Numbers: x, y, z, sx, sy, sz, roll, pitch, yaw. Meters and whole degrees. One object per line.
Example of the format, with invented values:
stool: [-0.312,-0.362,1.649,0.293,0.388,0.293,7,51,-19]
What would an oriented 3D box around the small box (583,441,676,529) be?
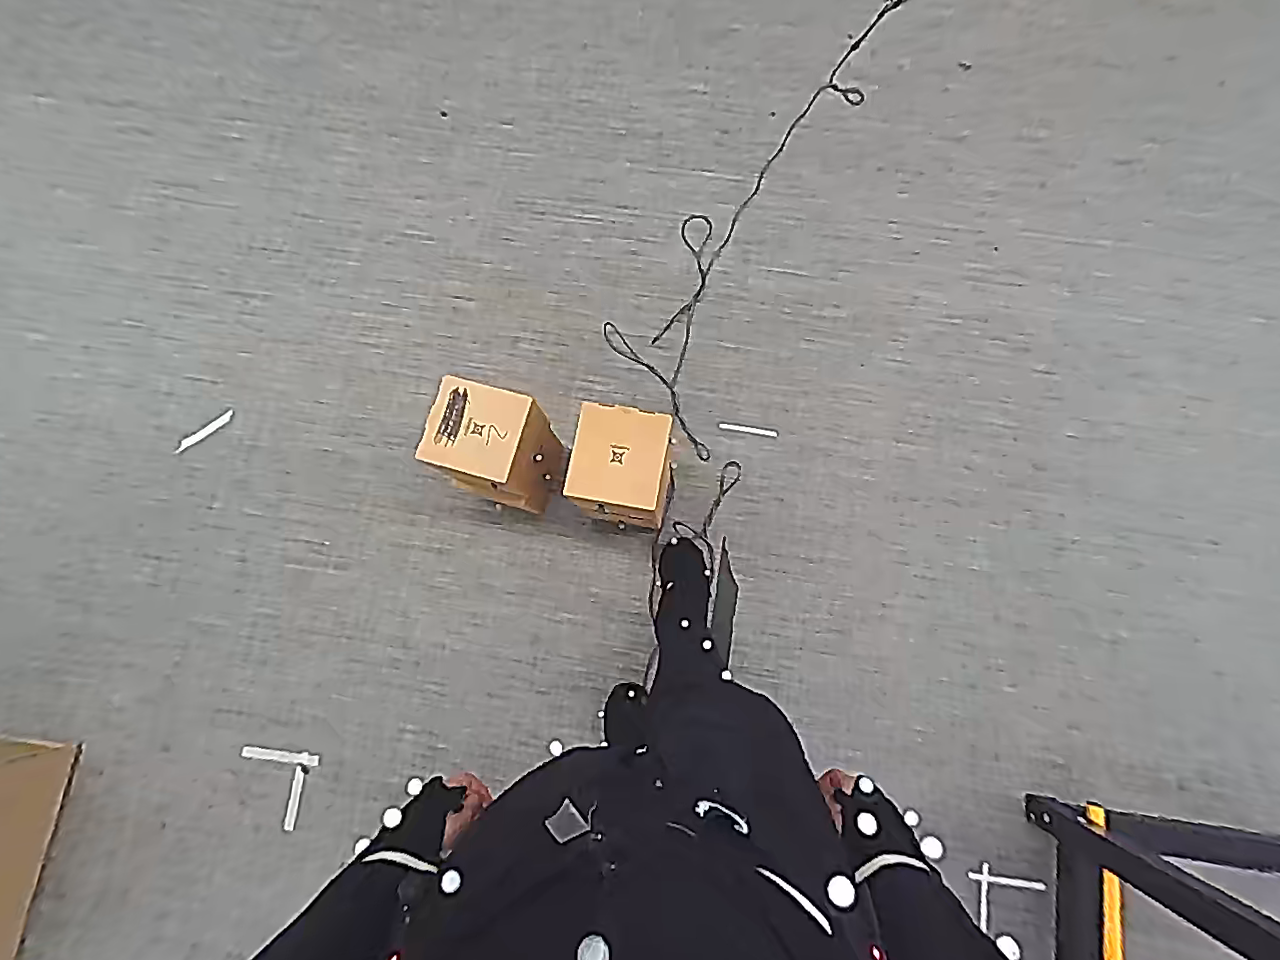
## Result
small box: [-0.018,0.003,1.185,0.168,0.176,0.179,10,80,6]

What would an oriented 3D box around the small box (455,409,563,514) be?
small box: [-0.280,-0.034,1.203,0.168,0.176,0.179,15,81,5]

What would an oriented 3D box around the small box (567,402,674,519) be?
small box: [-0.028,-0.029,1.026,0.168,0.176,0.179,10,79,5]
